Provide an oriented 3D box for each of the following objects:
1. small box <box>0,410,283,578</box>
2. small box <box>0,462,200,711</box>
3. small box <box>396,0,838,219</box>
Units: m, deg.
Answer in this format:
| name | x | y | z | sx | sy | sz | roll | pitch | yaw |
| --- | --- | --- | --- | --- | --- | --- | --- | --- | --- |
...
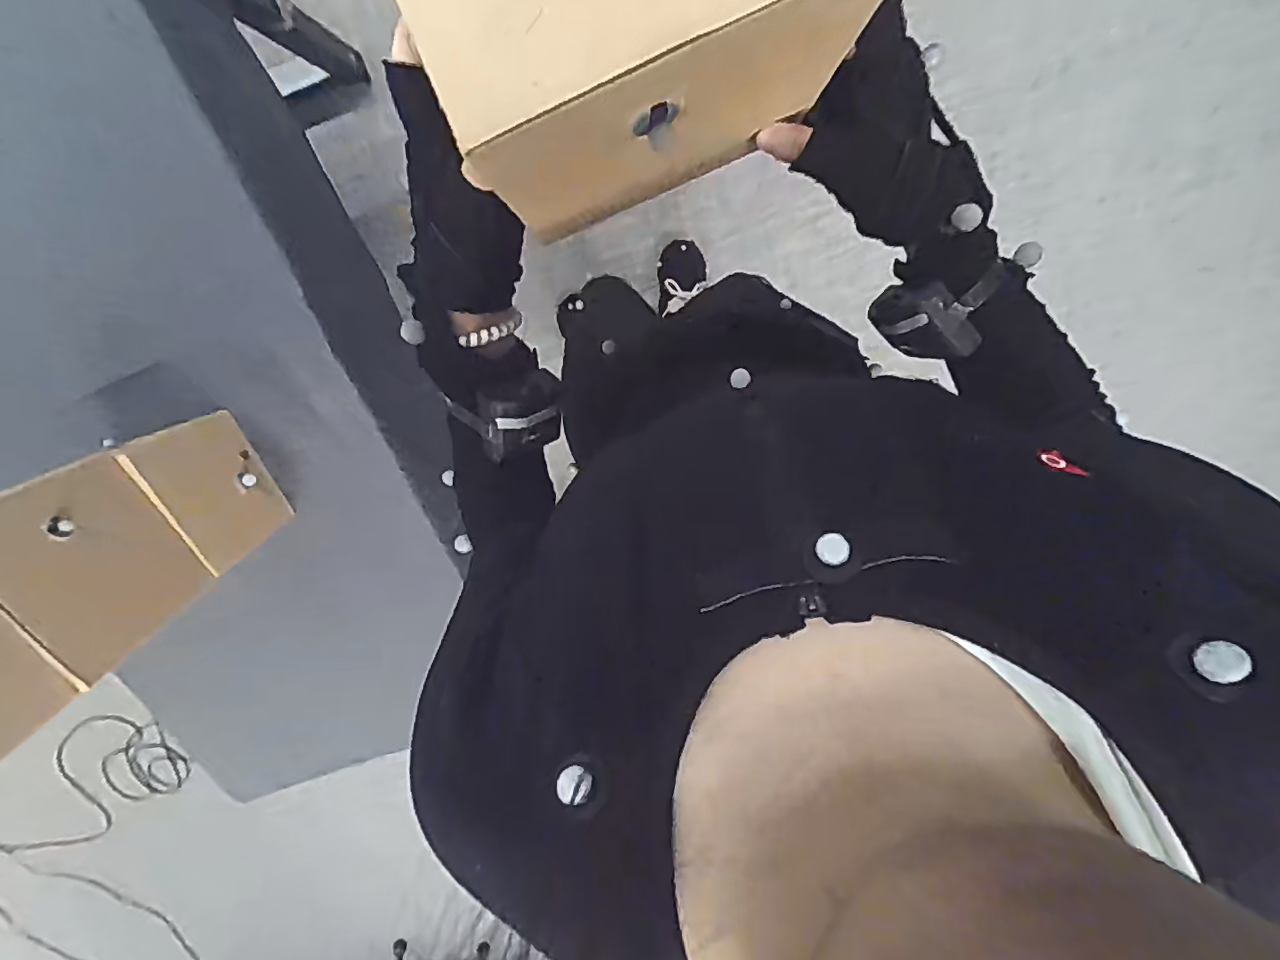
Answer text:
| name | x | y | z | sx | sy | sz | roll | pitch | yaw |
| --- | --- | --- | --- | --- | --- | --- | --- | --- | --- |
| small box | -0.598 | 0.030 | 0.665 | 0.179 | 0.176 | 0.168 | -17 | 113 | 4 |
| small box | -0.594 | 0.098 | 0.517 | 0.168 | 0.176 | 0.179 | -18 | 112 | 7 |
| small box | -0.016 | -0.247 | 0.248 | 0.179 | 0.176 | 0.168 | -21 | 102 | 5 |
